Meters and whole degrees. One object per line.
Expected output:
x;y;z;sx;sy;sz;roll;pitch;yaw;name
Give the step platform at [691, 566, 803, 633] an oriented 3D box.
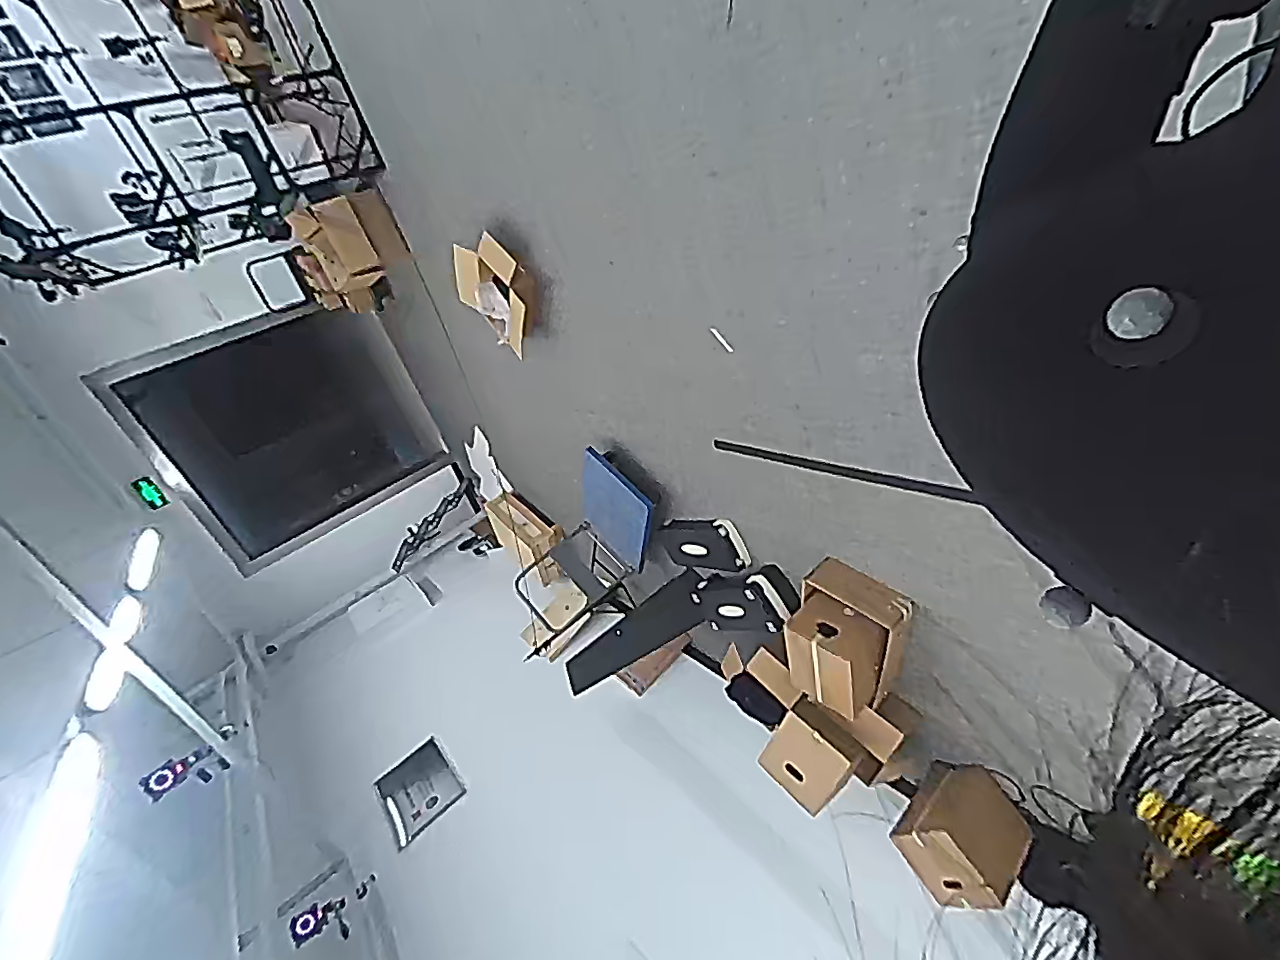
0.554;0.665;2.947;0.286;0.204;0.684;56;152;-1;step platform
